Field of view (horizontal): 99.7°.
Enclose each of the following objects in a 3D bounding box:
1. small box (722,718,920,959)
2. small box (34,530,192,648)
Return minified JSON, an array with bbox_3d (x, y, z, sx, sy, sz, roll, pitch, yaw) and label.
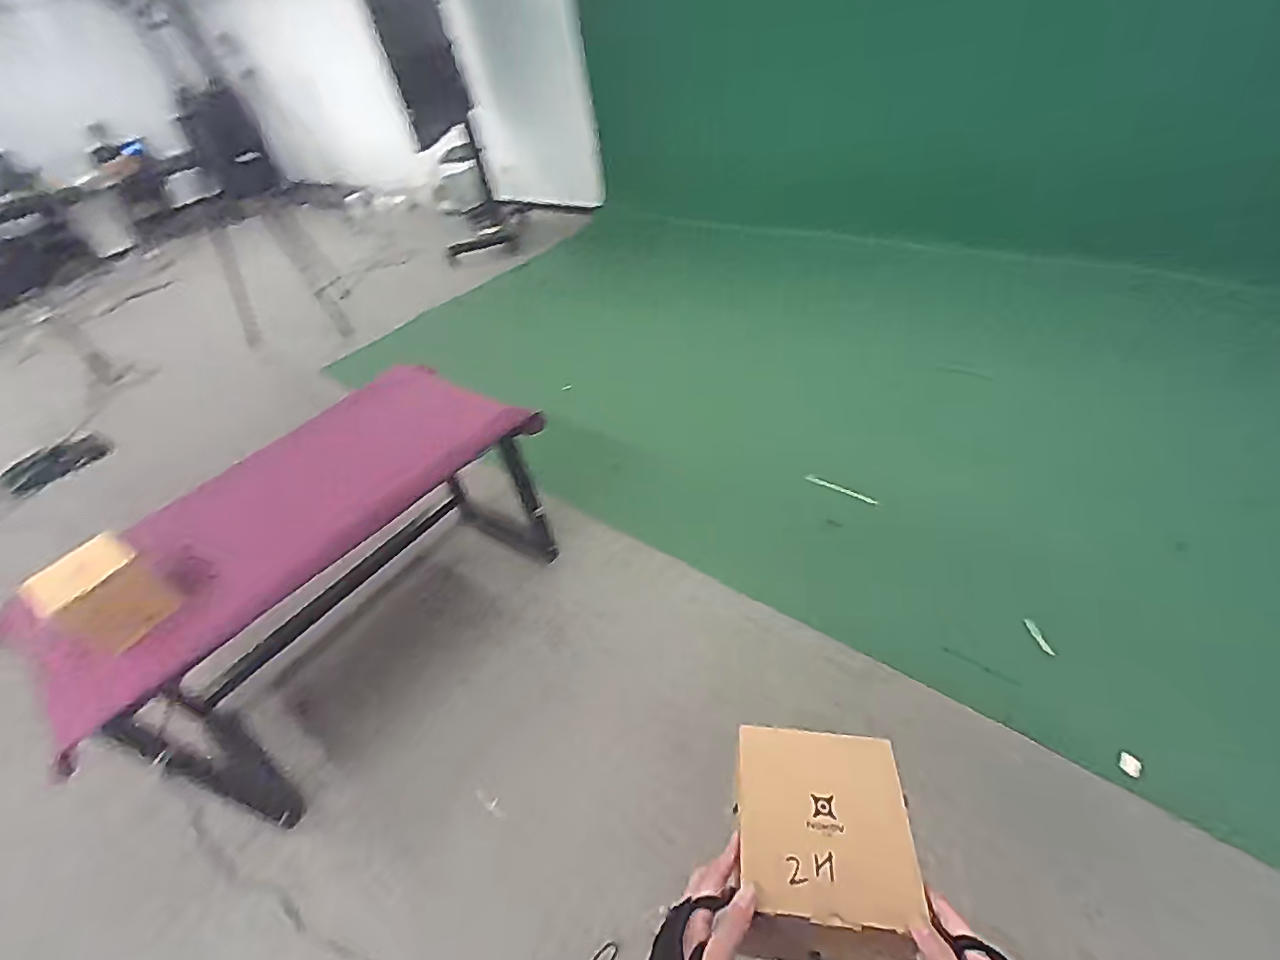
[{"bbox_3d":[0.175,0.390,0.586,0.168,0.176,0.179,1,38,8],"label":"small box"},{"bbox_3d":[-1.177,0.247,1.219,0.179,0.176,0.168,19,49,28],"label":"small box"}]
